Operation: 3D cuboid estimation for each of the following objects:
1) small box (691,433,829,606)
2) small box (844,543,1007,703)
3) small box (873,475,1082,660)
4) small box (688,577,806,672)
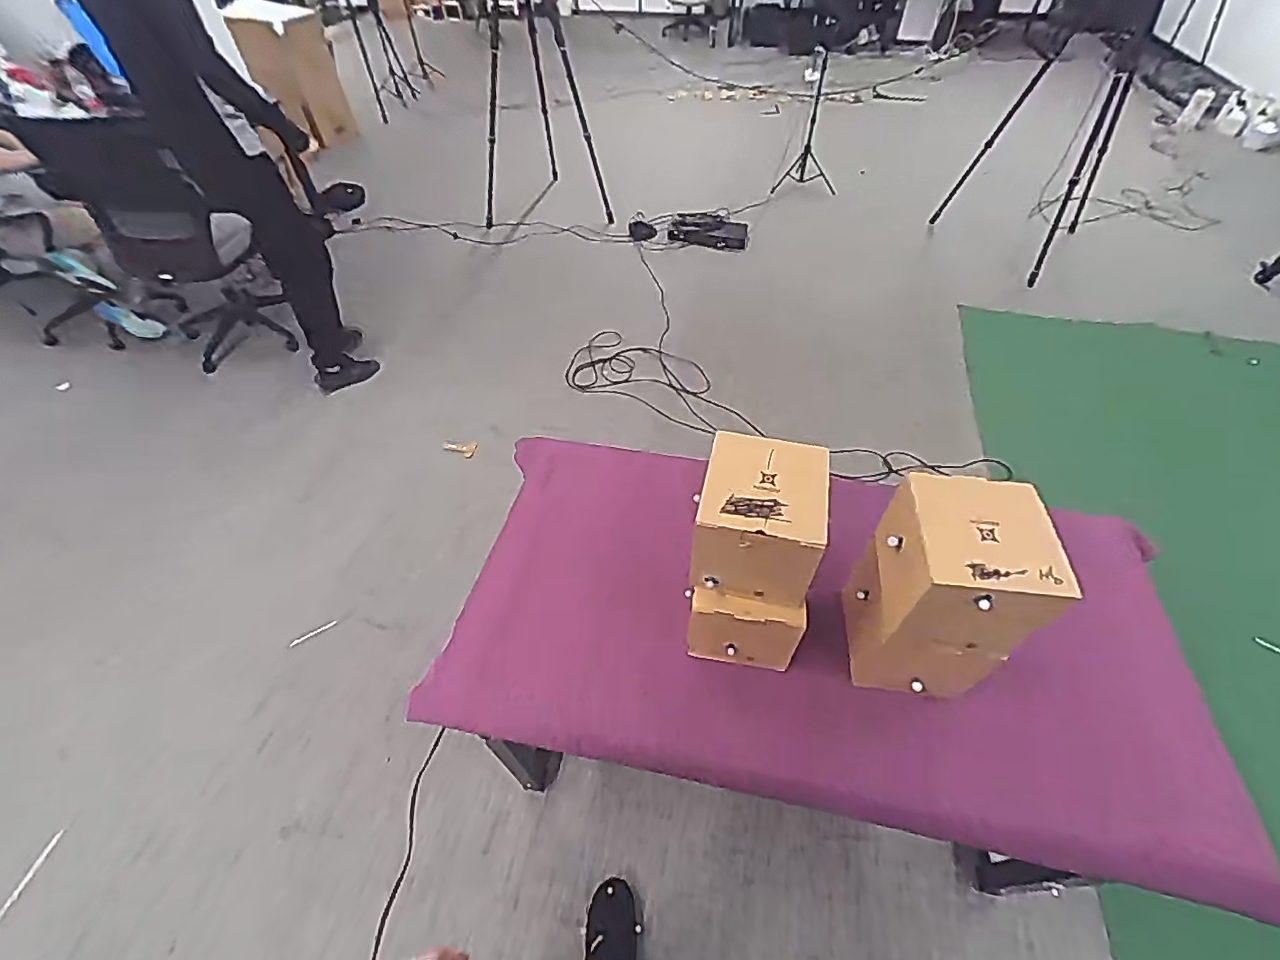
[{"bbox_3d":[0.170,0.060,0.789,0.168,0.176,0.179,10,50,10],"label":"small box"},{"bbox_3d":[0.432,0.227,0.856,0.168,0.176,0.179,6,50,6],"label":"small box"},{"bbox_3d":[0.431,0.118,0.732,0.168,0.176,0.179,5,48,6],"label":"small box"},{"bbox_3d":[0.172,0.191,0.893,0.168,0.176,0.179,7,50,7],"label":"small box"}]
